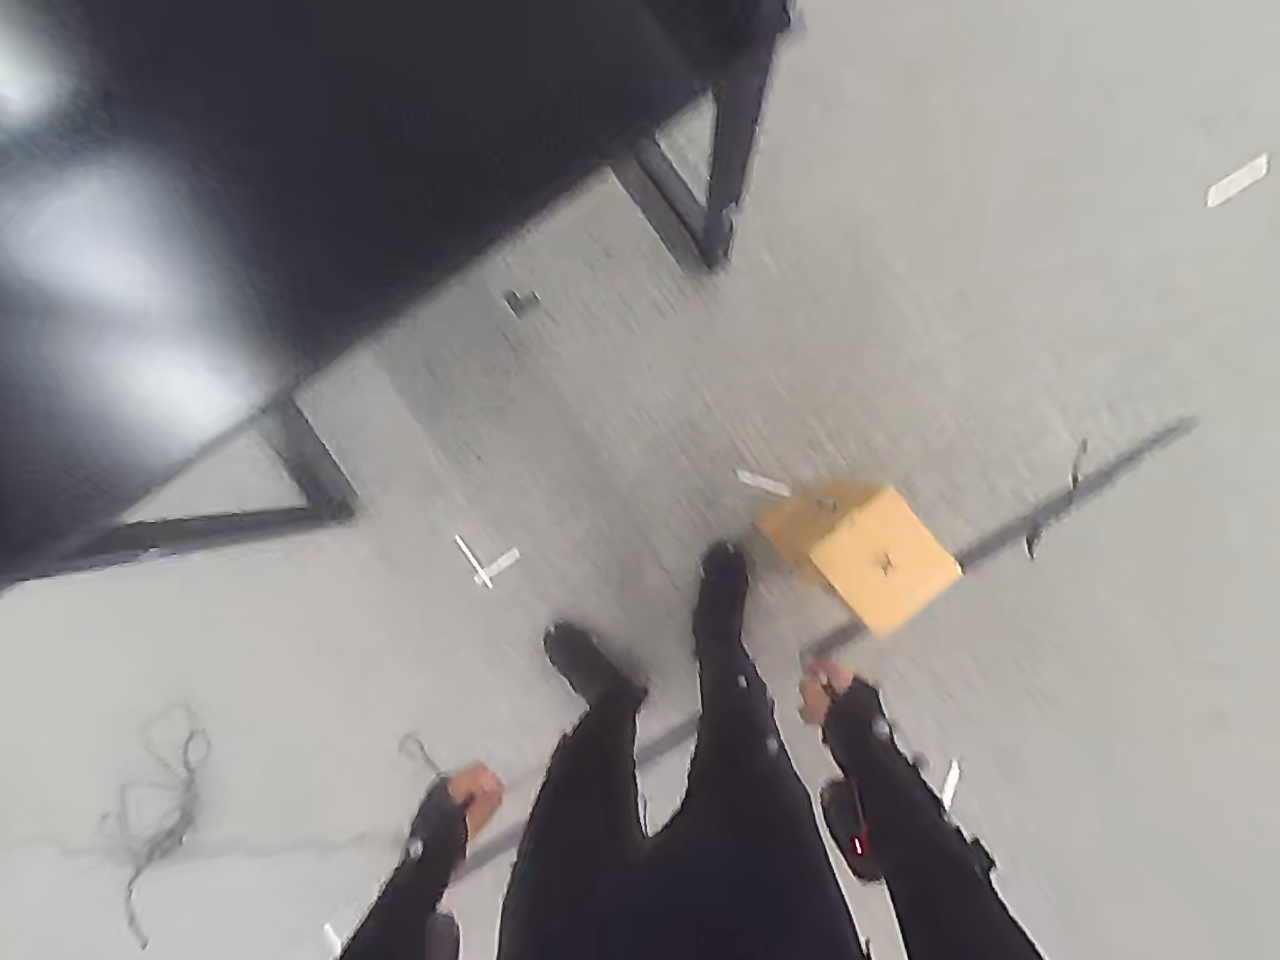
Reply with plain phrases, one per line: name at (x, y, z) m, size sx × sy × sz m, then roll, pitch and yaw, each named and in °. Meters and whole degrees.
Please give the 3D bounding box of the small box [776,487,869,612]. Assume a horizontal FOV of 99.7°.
small box at (0.394, 0.126, 1.070) m, size 0.179 × 0.176 × 0.168 m, roll -39°, pitch 89°, yaw 4°

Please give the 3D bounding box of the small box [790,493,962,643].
small box at (0.382, 0.134, 0.908) m, size 0.168 × 0.176 × 0.179 m, roll -40°, pitch 88°, yaw 4°
